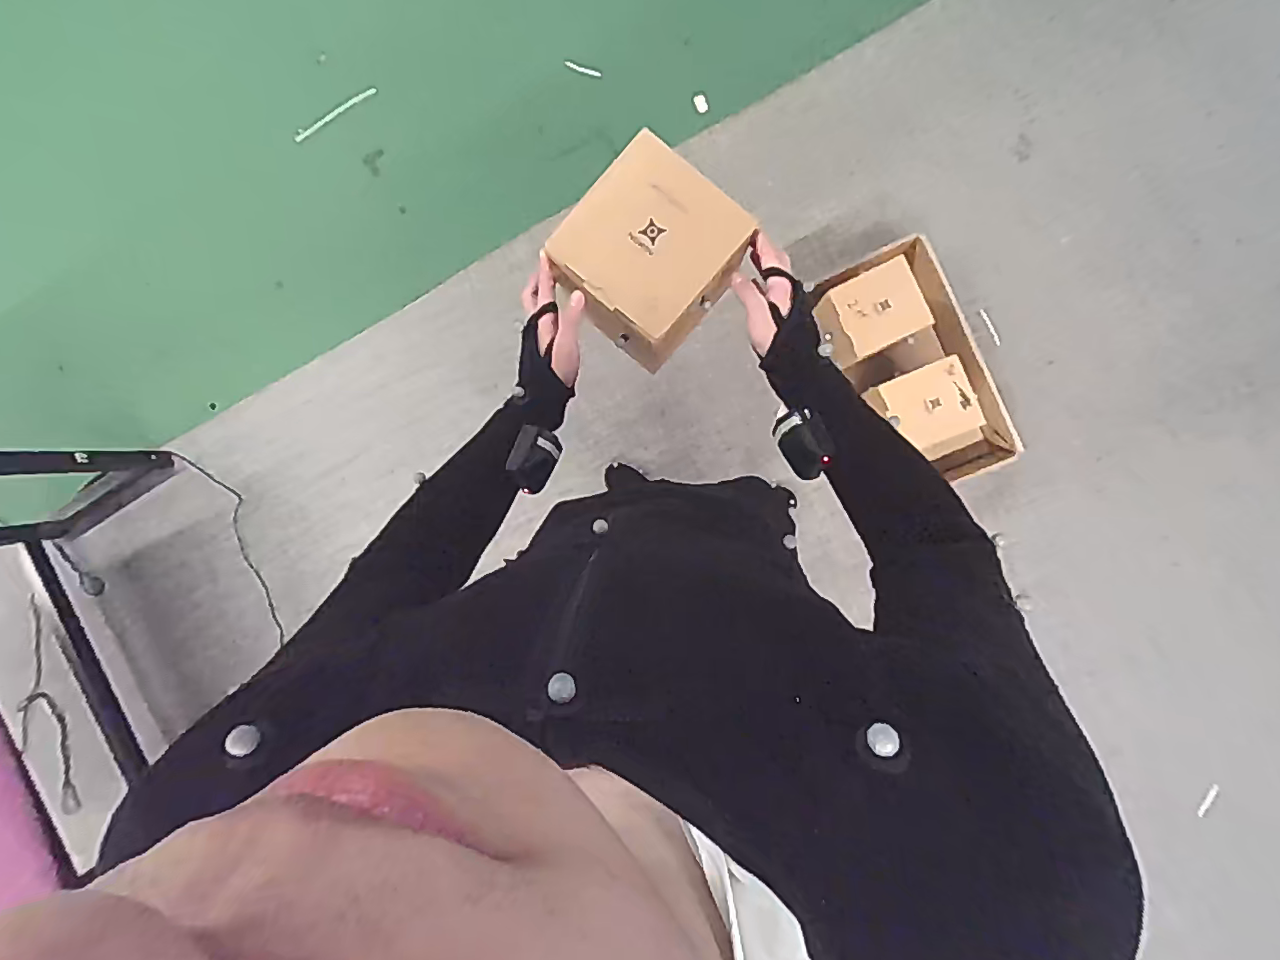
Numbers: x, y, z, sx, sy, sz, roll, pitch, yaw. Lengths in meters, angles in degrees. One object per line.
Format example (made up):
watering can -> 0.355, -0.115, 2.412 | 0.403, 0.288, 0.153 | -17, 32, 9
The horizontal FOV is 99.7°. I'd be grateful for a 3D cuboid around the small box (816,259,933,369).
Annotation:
small box -> 0.532, -0.374, 1.250 | 0.179, 0.176, 0.168 | -24, 89, 8
